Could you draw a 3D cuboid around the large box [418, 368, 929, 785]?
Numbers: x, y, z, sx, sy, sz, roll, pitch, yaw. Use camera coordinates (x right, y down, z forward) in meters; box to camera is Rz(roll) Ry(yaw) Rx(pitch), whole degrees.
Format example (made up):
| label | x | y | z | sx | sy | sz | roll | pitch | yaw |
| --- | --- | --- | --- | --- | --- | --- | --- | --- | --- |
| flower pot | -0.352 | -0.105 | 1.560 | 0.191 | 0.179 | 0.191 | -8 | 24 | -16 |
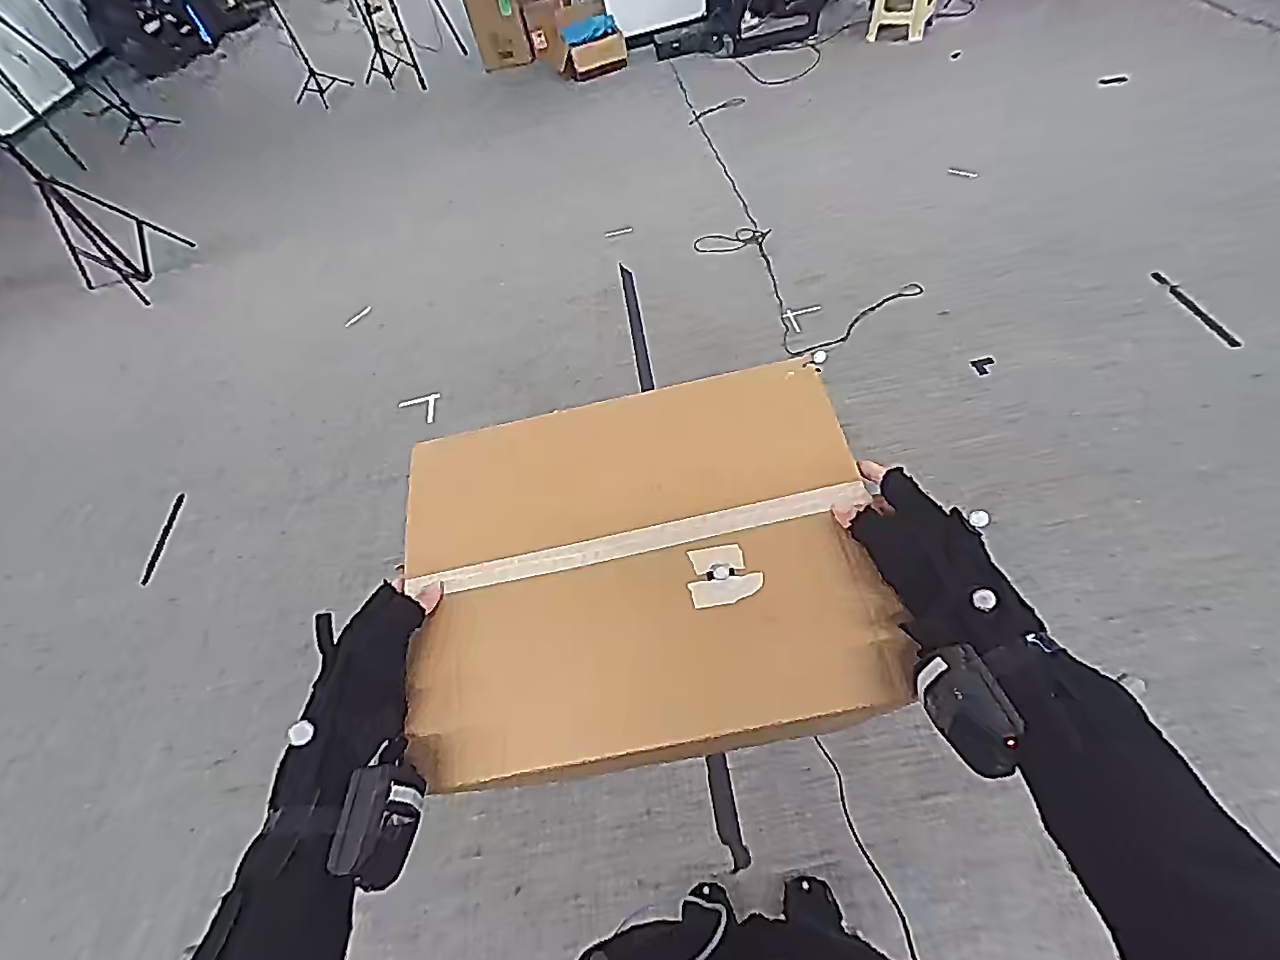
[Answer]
| label | x | y | z | sx | sy | sz | roll | pitch | yaw |
| --- | --- | --- | --- | --- | --- | --- | --- | --- | --- |
| large box | 0.016 | 0.129 | 0.607 | 0.408 | 0.320 | 0.320 | -12 | 61 | 2 |
